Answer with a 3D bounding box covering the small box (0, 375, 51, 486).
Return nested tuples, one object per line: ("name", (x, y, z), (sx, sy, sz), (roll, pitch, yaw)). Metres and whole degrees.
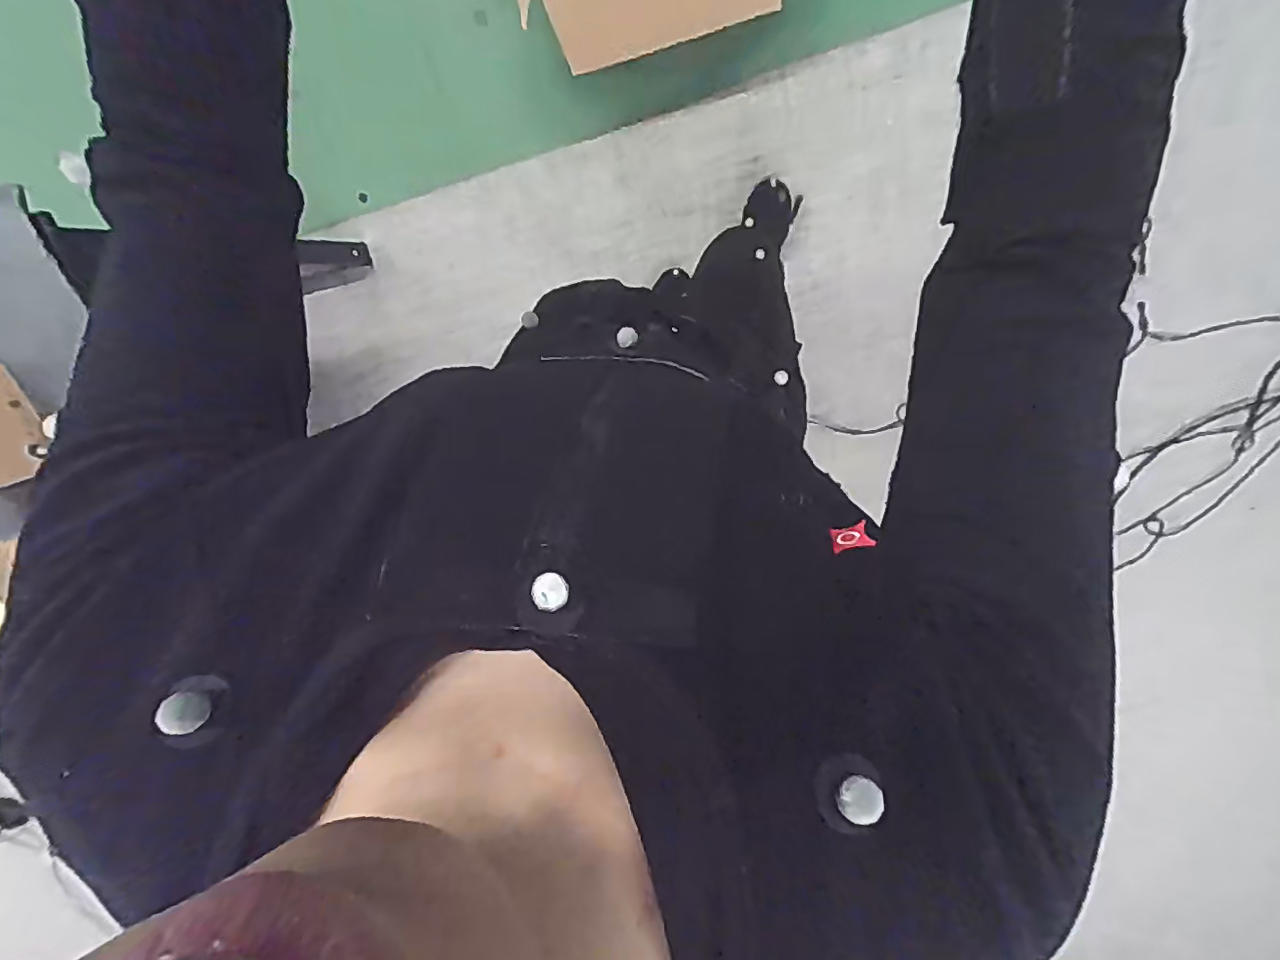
("small box", (-0.986, -0.049, 0.738), (0.179, 0.176, 0.168), (-12, 110, 13))
